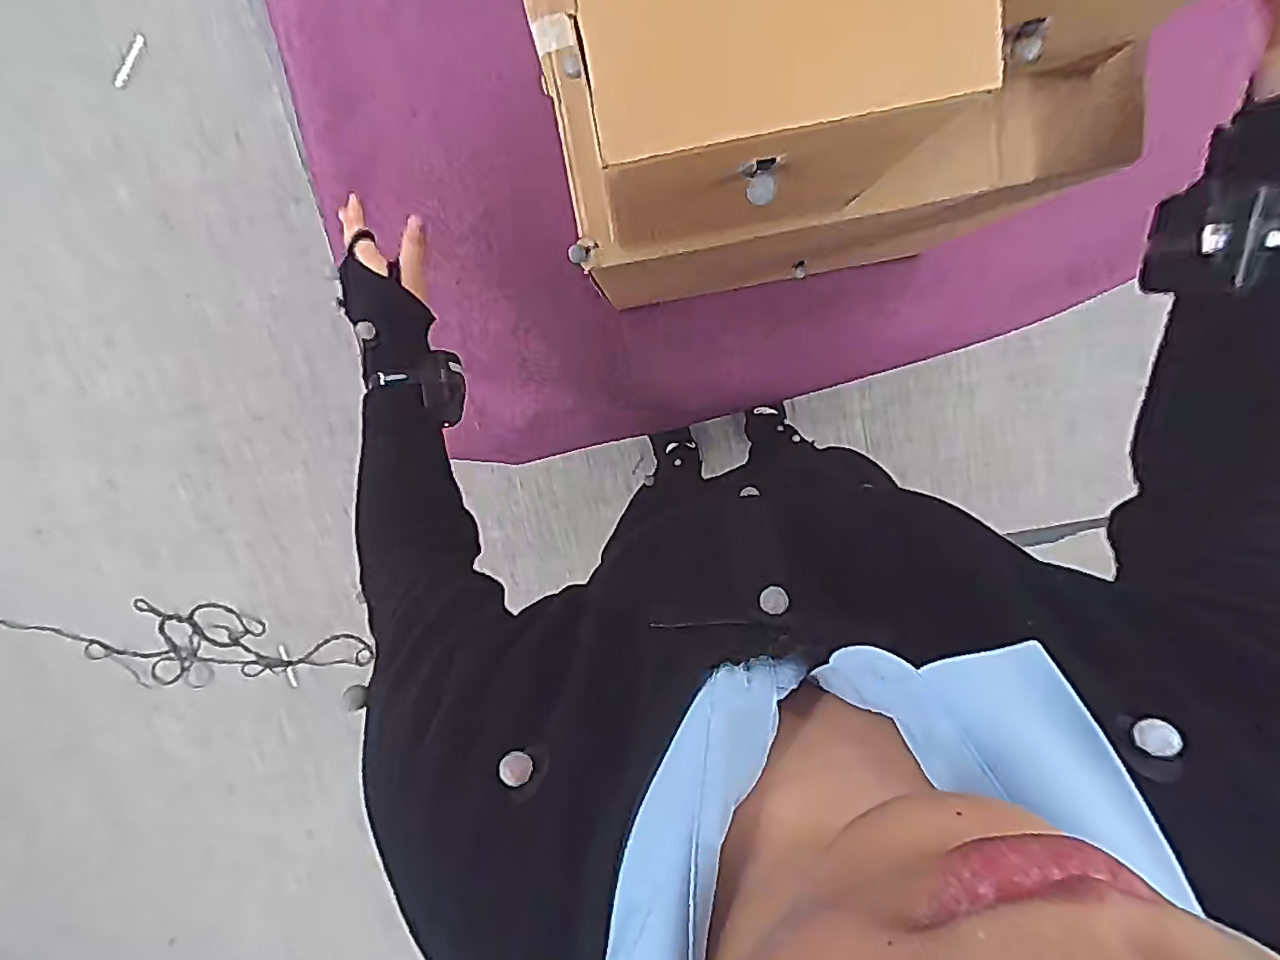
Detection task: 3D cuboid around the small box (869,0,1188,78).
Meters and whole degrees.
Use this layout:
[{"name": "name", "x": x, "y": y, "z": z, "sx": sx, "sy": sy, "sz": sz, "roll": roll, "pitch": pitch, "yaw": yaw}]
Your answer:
[{"name": "small box", "x": 0.222, "y": -0.342, "z": 0.262, "sx": 0.168, "sy": 0.176, "sz": 0.179, "roll": -4, "pitch": 101, "yaw": 4}]

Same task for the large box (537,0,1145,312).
[{"name": "large box", "x": 0.137, "y": -0.367, "z": 0.510, "sx": 0.408, "sy": 0.320, "sz": 0.320, "roll": -10, "pitch": 100, "yaw": 5}]
